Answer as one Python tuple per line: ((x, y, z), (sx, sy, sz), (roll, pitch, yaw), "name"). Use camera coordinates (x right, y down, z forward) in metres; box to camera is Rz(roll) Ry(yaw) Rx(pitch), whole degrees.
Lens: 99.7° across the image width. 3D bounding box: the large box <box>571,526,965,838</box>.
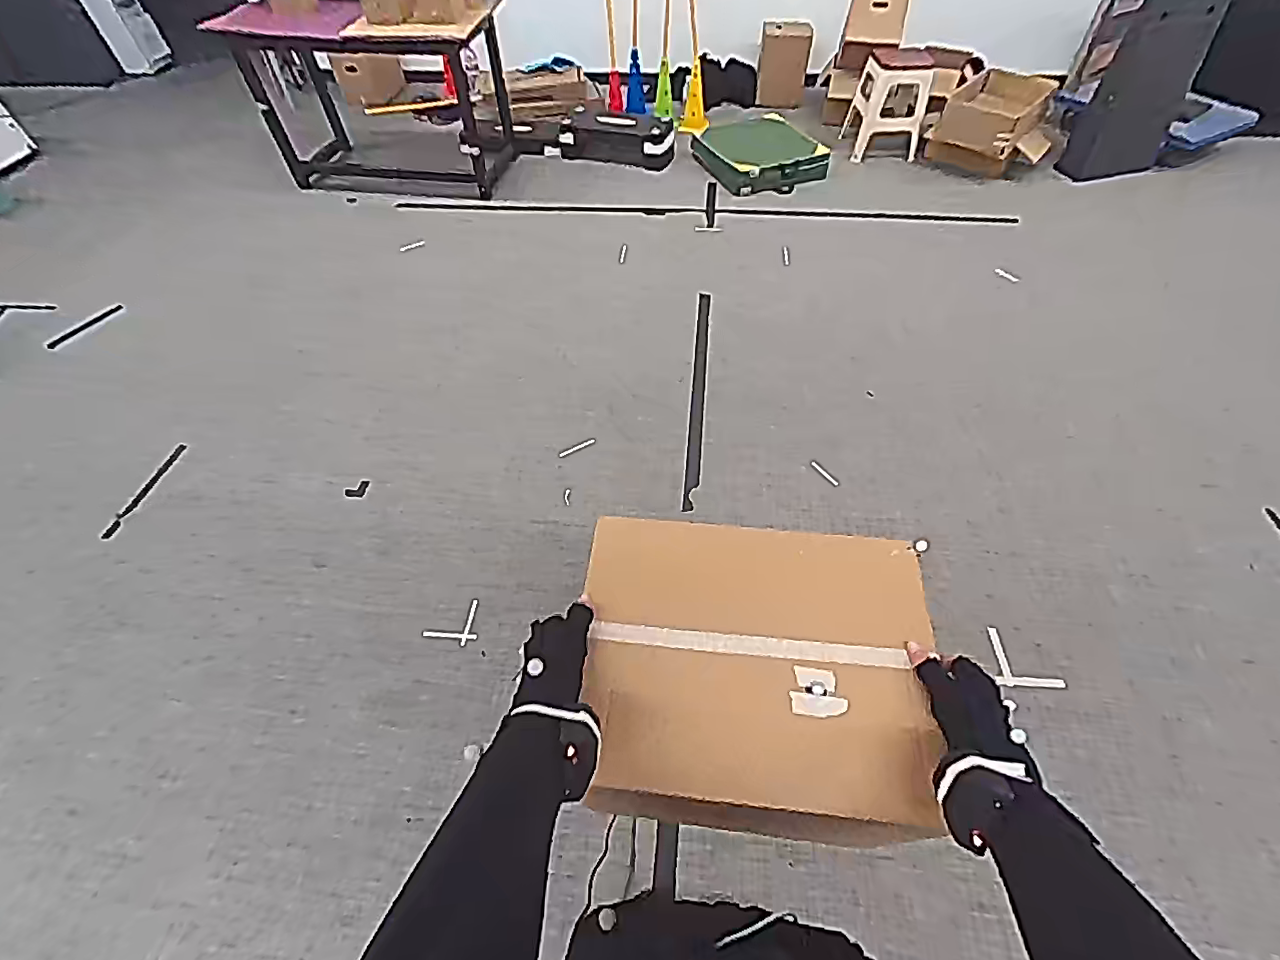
((0.139, 0.285, 0.749), (0.408, 0.320, 0.320), (5, 55, 5), "large box")
